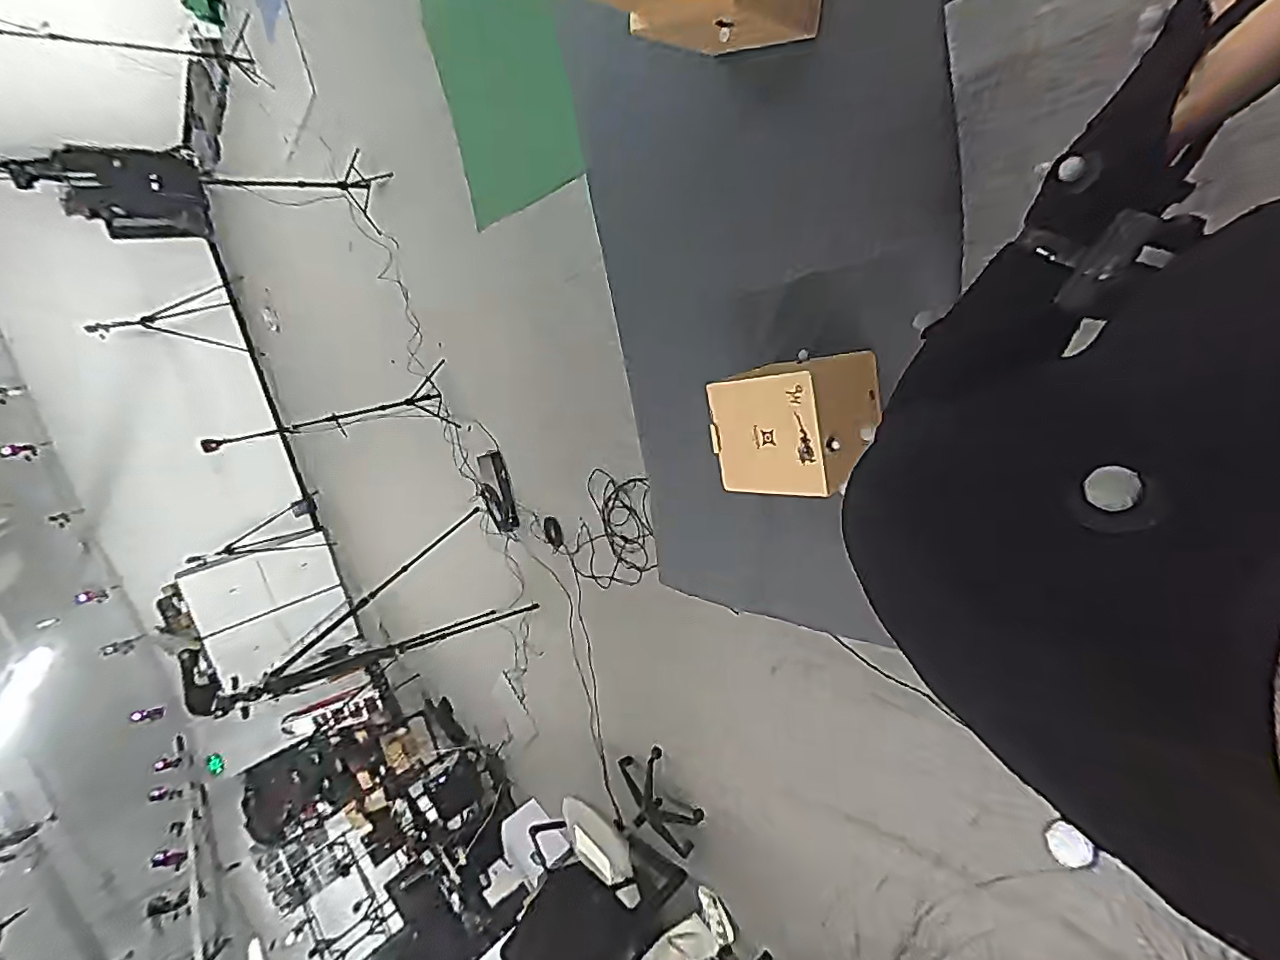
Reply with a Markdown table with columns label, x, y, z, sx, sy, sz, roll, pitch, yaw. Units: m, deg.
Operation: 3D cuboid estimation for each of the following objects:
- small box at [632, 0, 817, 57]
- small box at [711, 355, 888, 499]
| label | x | y | z | sx | sy | sz | roll | pitch | yaw |
| --- | --- | --- | --- | --- | --- | --- | --- | --- | --- |
| small box | 0.110 | -0.632 | 0.649 | 0.179 | 0.176 | 0.168 | 29 | 128 | 40 |
| small box | 0.233 | -0.080 | 0.789 | 0.179 | 0.176 | 0.168 | 3 | 110 | 50 |
